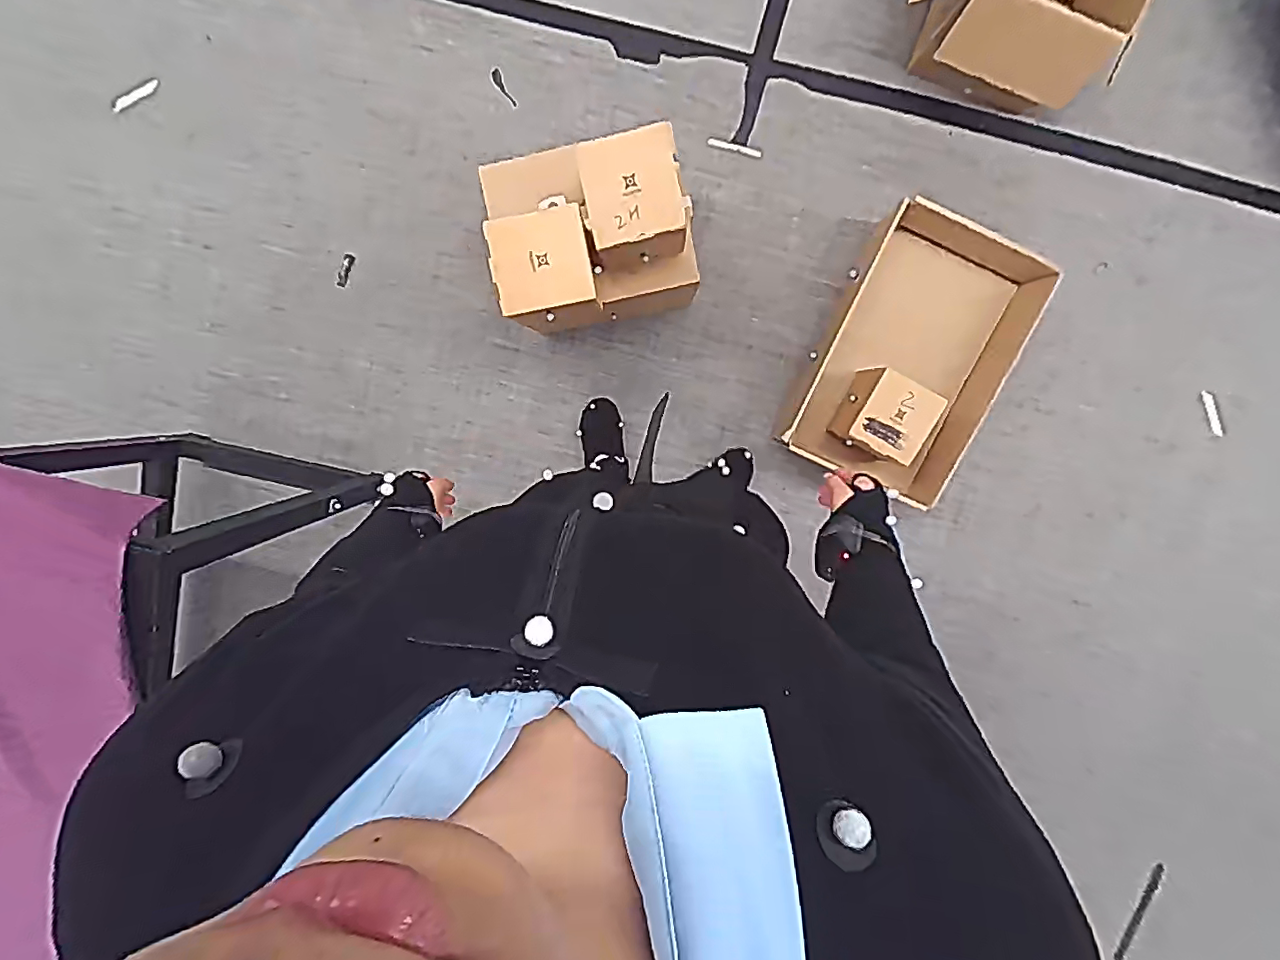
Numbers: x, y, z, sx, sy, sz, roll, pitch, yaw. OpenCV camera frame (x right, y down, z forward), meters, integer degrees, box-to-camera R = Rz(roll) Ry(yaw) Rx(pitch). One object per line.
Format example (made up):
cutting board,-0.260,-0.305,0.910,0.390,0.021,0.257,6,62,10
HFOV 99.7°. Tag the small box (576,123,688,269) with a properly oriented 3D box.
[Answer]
small box,-0.011,-0.513,1.001,0.168,0.176,0.179,-13,99,4

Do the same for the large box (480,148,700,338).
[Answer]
large box,-0.093,-0.535,1.249,0.408,0.320,0.320,-12,98,4
